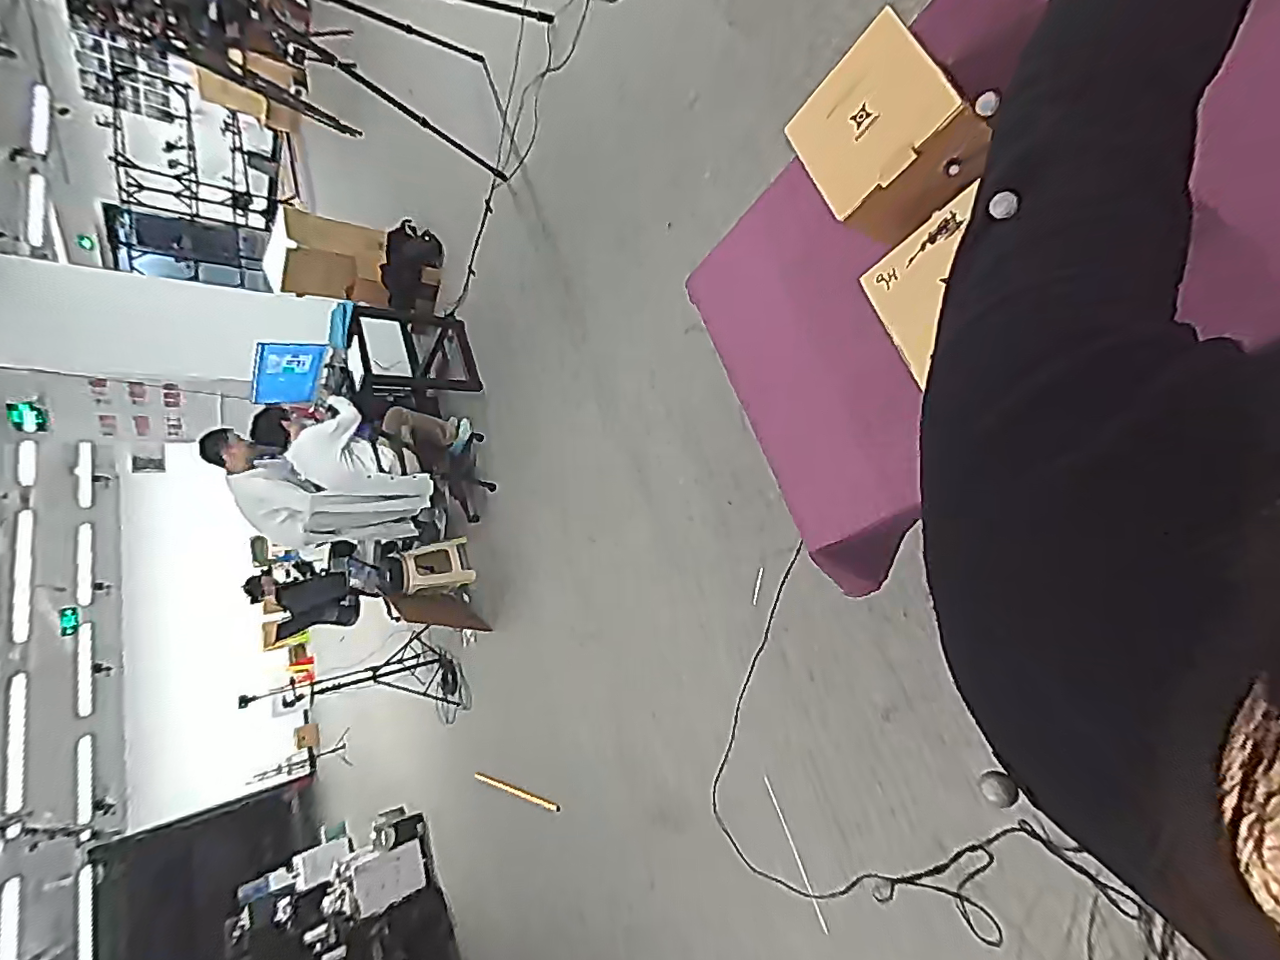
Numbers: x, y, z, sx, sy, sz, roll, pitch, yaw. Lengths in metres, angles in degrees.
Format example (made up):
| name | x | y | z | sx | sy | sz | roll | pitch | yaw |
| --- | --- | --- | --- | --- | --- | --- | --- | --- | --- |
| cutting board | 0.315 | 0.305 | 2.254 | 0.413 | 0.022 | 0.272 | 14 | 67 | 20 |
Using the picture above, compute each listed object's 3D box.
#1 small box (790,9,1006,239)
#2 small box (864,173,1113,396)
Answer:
| name | x | y | z | sx | sy | sz | roll | pitch | yaw |
| --- | --- | --- | --- | --- | --- | --- | --- | --- | --- |
| small box | 0.340 | -0.446 | 0.714 | 0.168 | 0.176 | 0.179 | -38 | 64 | 44 |
| small box | 0.413 | -0.215 | 0.643 | 0.168 | 0.176 | 0.179 | -38 | 65 | 44 |
